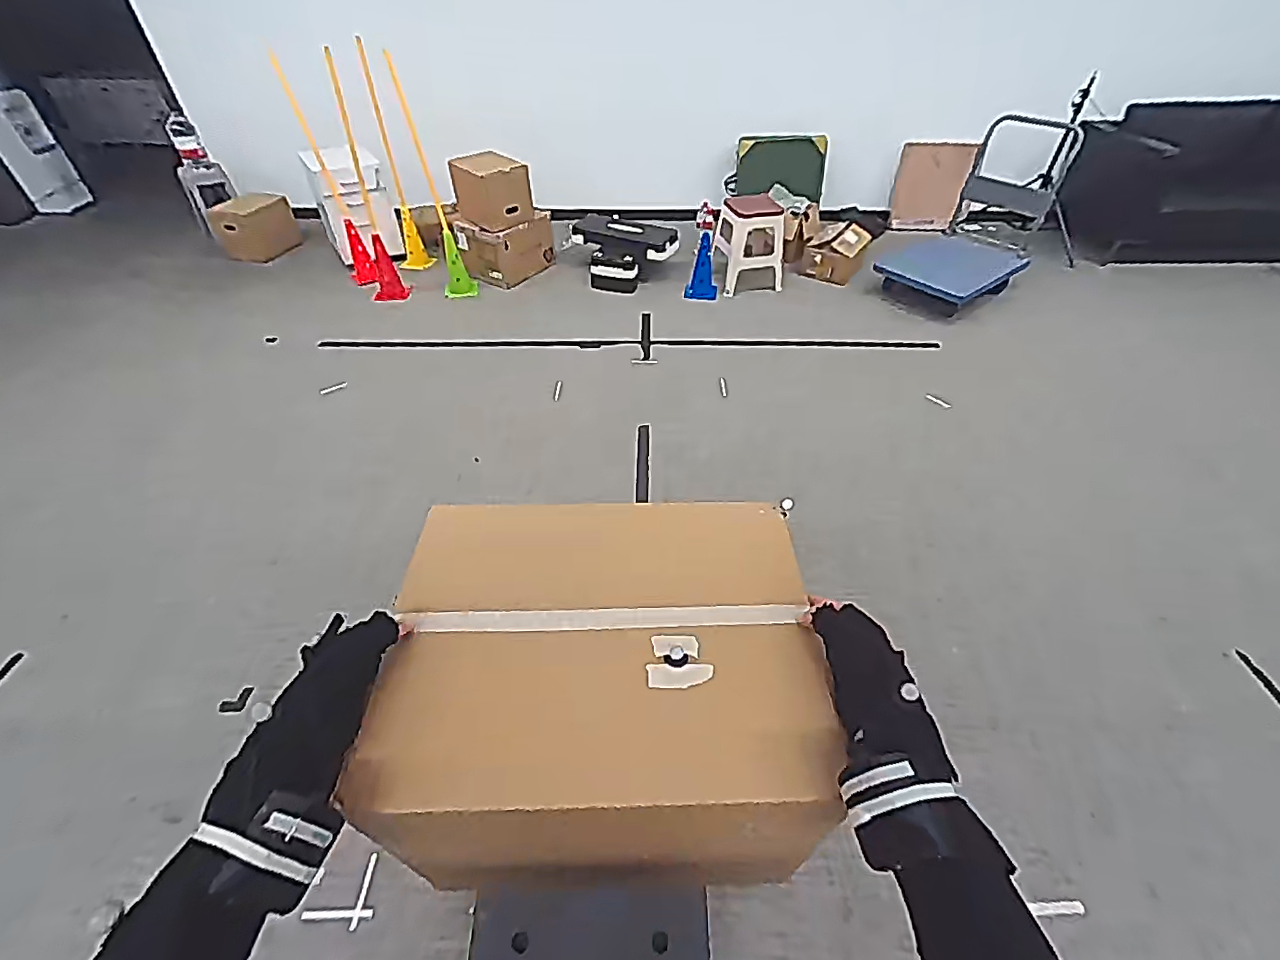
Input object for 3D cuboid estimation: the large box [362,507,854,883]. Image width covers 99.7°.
[{"bbox_3d":[-0.031,0.249,0.638,0.408,0.320,0.320,0,44,-1],"label":"large box"}]
